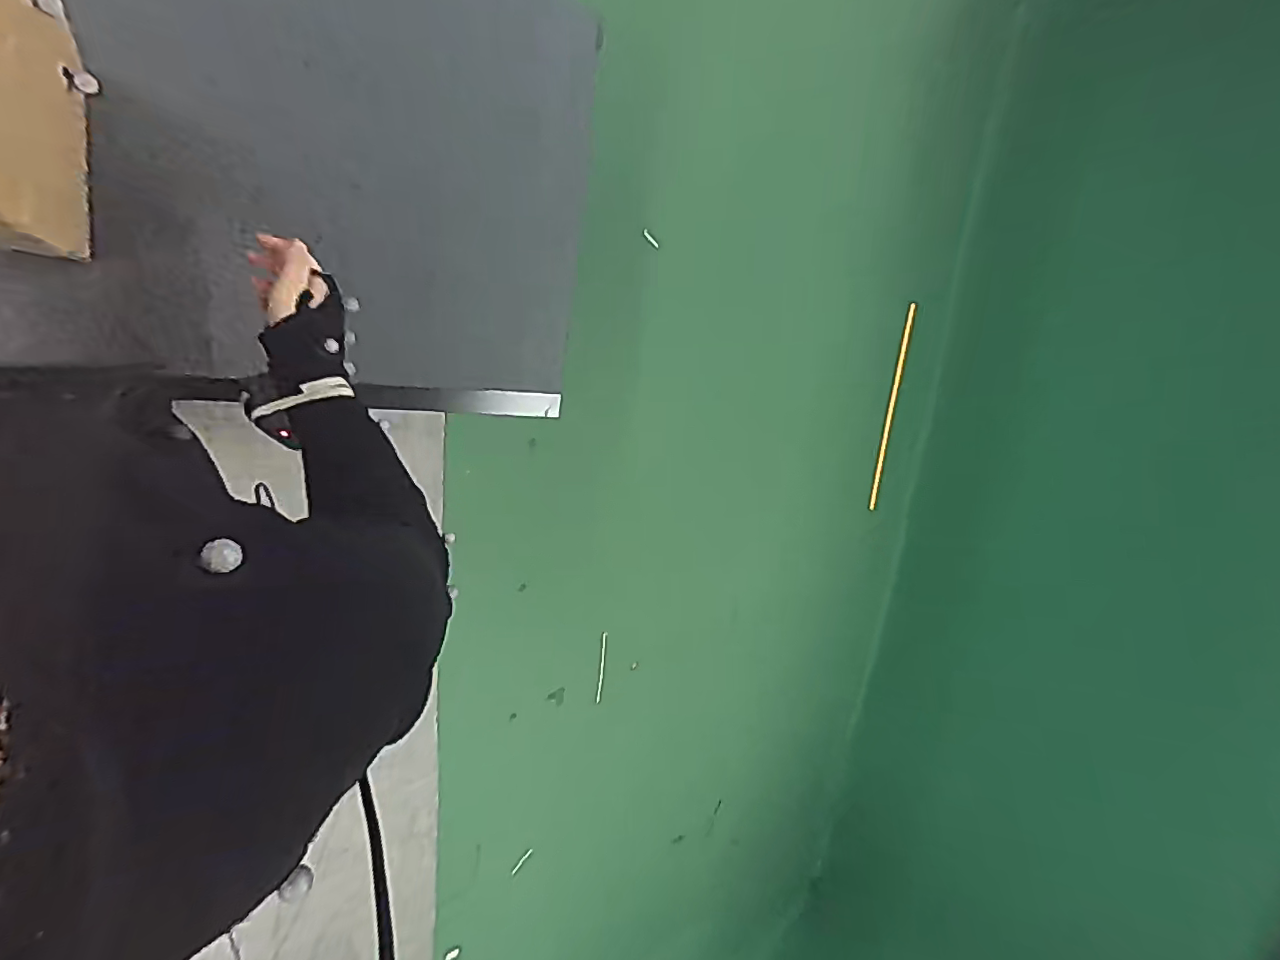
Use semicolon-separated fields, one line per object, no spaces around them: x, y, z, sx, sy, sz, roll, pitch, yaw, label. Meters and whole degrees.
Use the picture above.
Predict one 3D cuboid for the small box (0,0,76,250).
-0.527;-0.280;0.380;0.168;0.176;0.179;0;102;-41;small box
